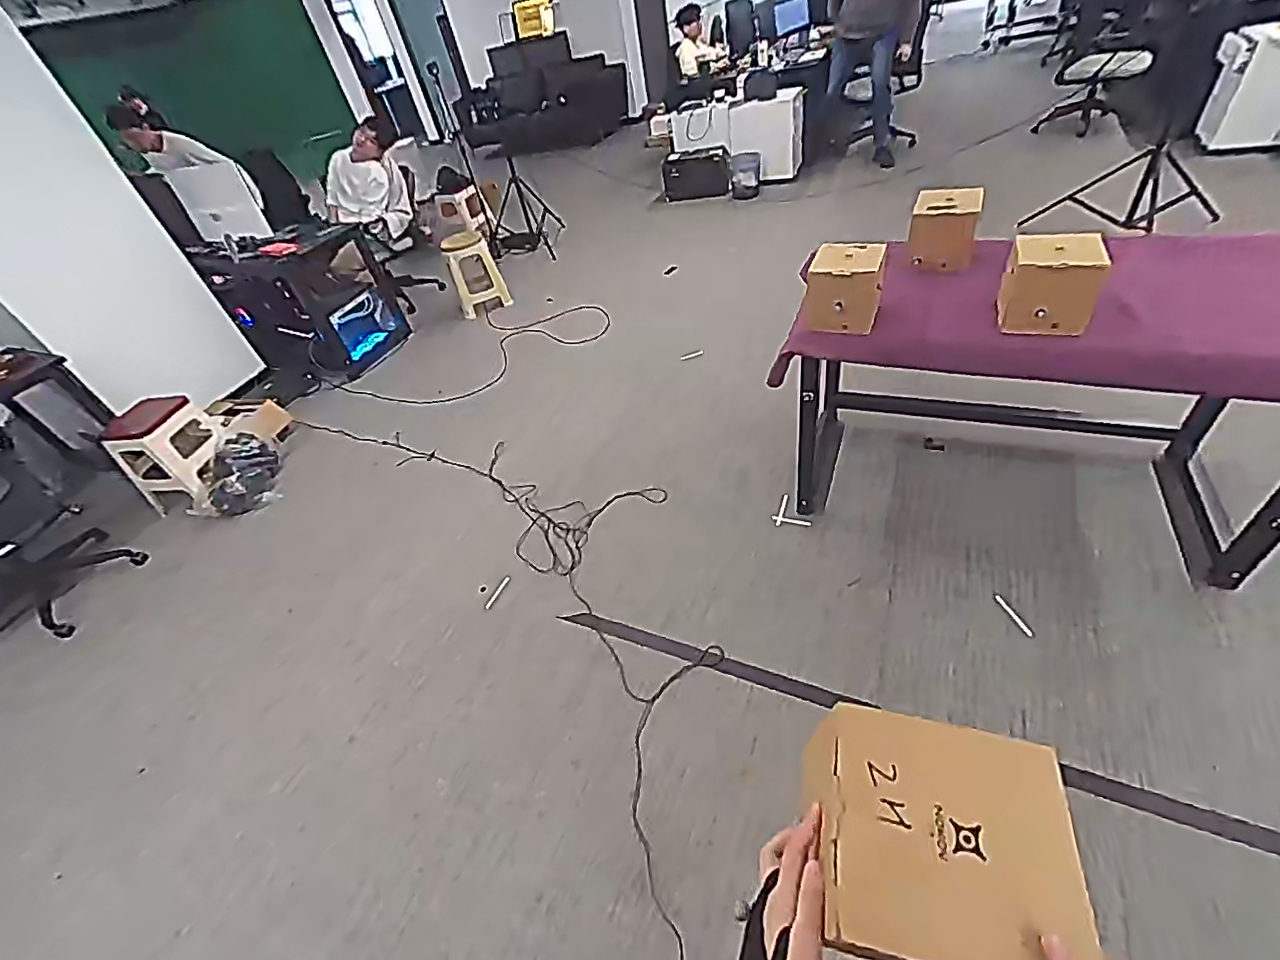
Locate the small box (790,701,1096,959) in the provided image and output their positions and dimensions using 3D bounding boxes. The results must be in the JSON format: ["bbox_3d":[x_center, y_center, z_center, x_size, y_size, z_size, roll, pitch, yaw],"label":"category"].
[{"bbox_3d":[0.240,0.320,0.475,0.179,0.176,0.168,9,51,10],"label":"small box"}]

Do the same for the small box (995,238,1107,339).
[{"bbox_3d":[0.954,-0.454,1.273,0.168,0.176,0.179,9,46,23],"label":"small box"}]

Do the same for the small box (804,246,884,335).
[{"bbox_3d":[0.536,-0.498,1.428,0.168,0.176,0.179,12,48,24],"label":"small box"}]

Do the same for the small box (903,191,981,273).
[{"bbox_3d":[0.872,-0.716,1.569,0.168,0.176,0.179,12,49,25],"label":"small box"}]
